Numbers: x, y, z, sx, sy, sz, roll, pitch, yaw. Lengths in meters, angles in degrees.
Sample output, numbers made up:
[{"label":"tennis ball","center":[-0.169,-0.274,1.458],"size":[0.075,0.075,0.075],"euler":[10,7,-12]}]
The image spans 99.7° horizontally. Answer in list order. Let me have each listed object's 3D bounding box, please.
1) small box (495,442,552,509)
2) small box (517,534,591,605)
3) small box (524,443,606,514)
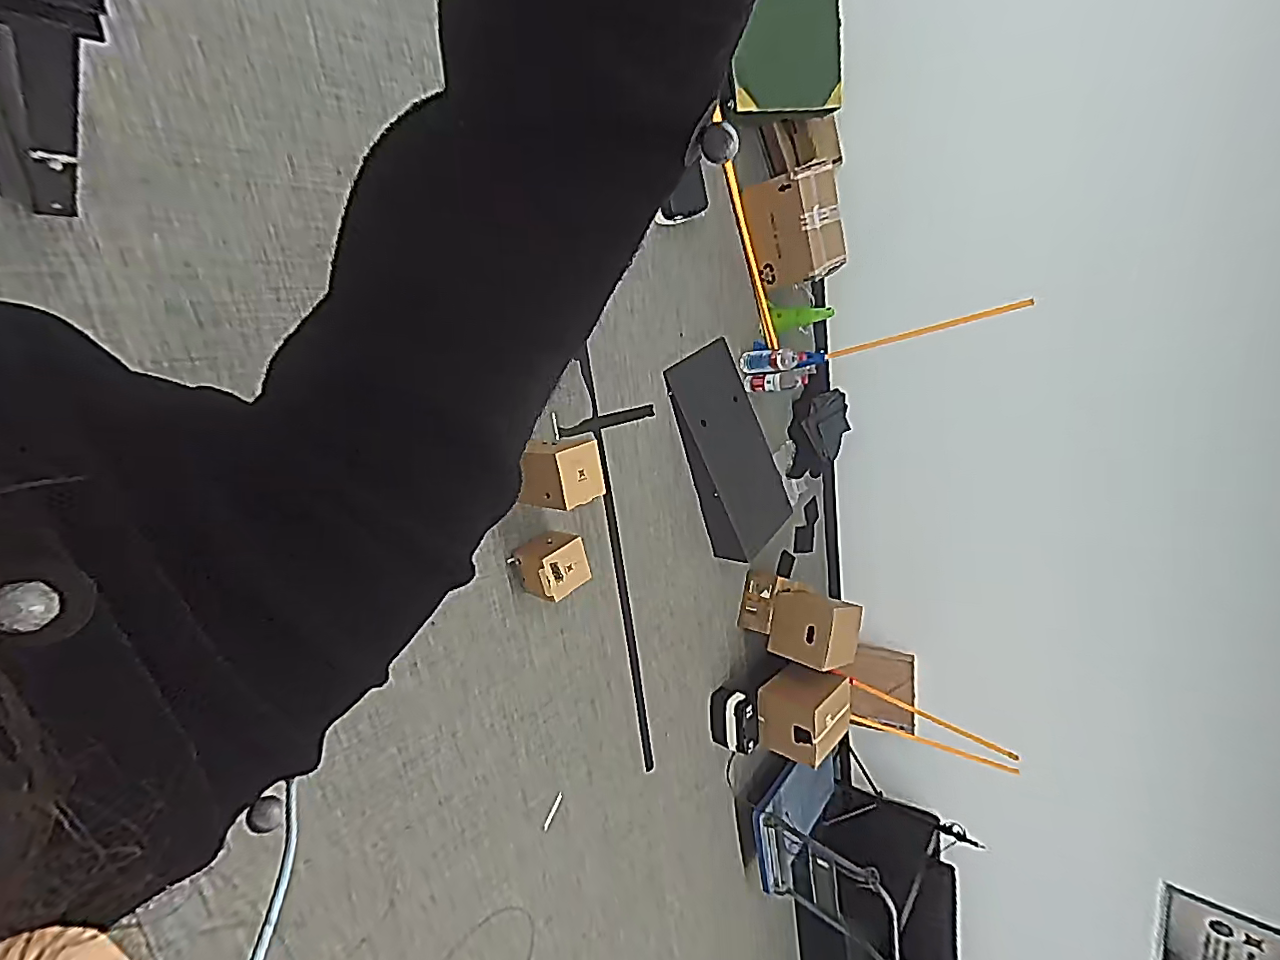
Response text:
[{"label":"small box","center":[-0.347,-0.021,1.755],"size":[0.168,0.176,0.179],"euler":[-21,110,-44]},{"label":"small box","center":[-0.299,0.299,1.842],"size":[0.179,0.176,0.168],"euler":[-30,116,-42]},{"label":"small box","center":[-0.229,-0.011,1.642],"size":[0.168,0.176,0.179],"euler":[-24,110,-44]}]
